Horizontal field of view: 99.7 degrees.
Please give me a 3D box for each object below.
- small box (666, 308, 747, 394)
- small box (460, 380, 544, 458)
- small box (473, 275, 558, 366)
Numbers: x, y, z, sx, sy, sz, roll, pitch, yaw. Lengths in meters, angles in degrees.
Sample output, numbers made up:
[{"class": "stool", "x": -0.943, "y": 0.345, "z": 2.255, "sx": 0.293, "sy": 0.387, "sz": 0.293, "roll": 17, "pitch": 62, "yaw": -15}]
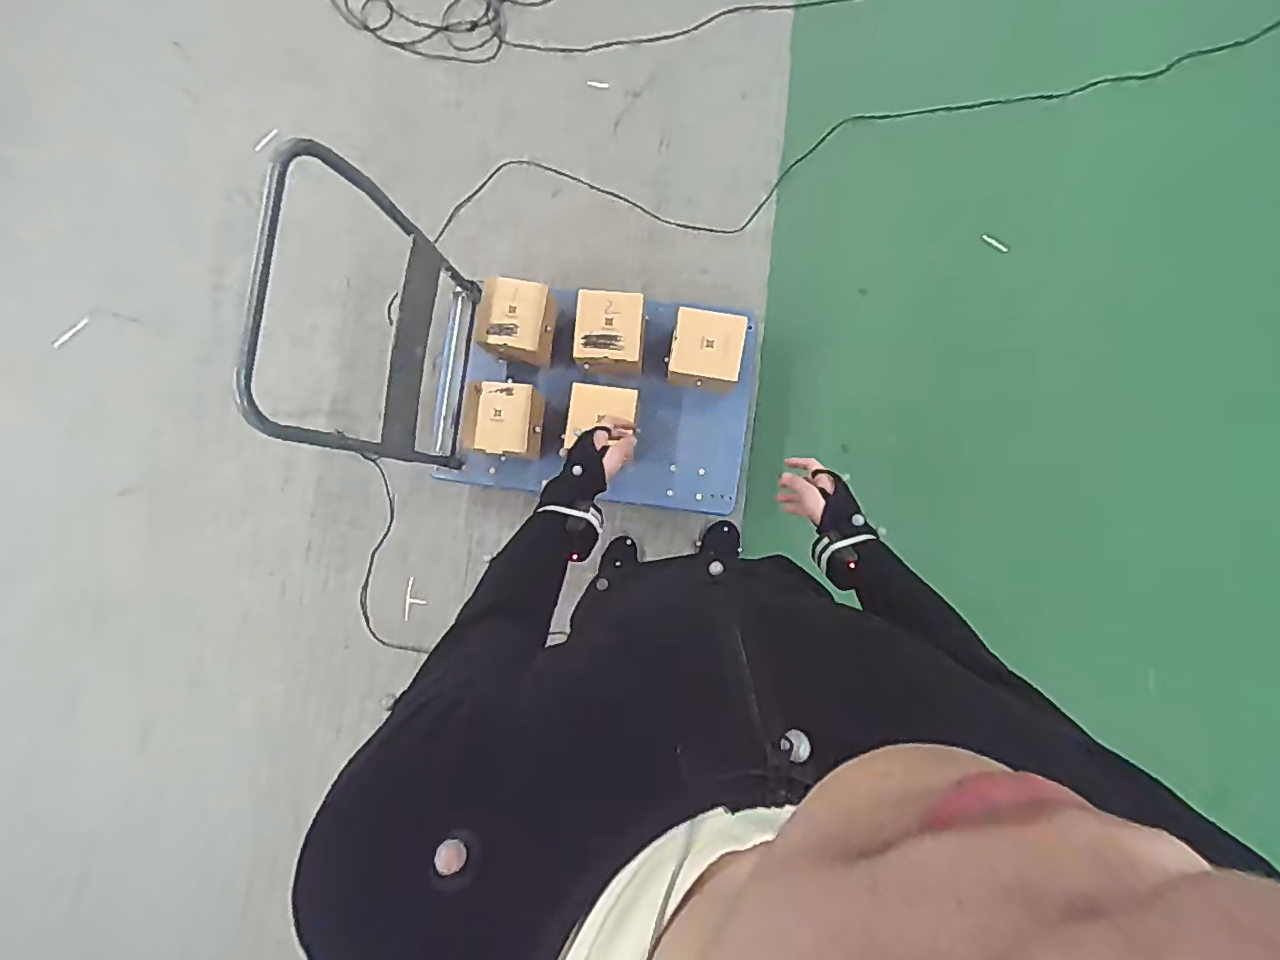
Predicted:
[{"class": "small box", "x": 0.168, "y": -0.330, "z": 1.412, "sx": 0.179, "sy": 0.176, "sz": 0.168, "roll": 10, "pitch": 88, "yaw": 3}, {"class": "small box", "x": -0.355, "y": -0.153, "z": 1.415, "sx": 0.168, "sy": 0.176, "sz": 0.179, "roll": 5, "pitch": 87, "yaw": 2}, {"class": "small box", "x": -0.322, "y": -0.413, "z": 1.429, "sx": 0.168, "sy": 0.176, "sz": 0.179, "roll": 10, "pitch": 87, "yaw": 2}]
